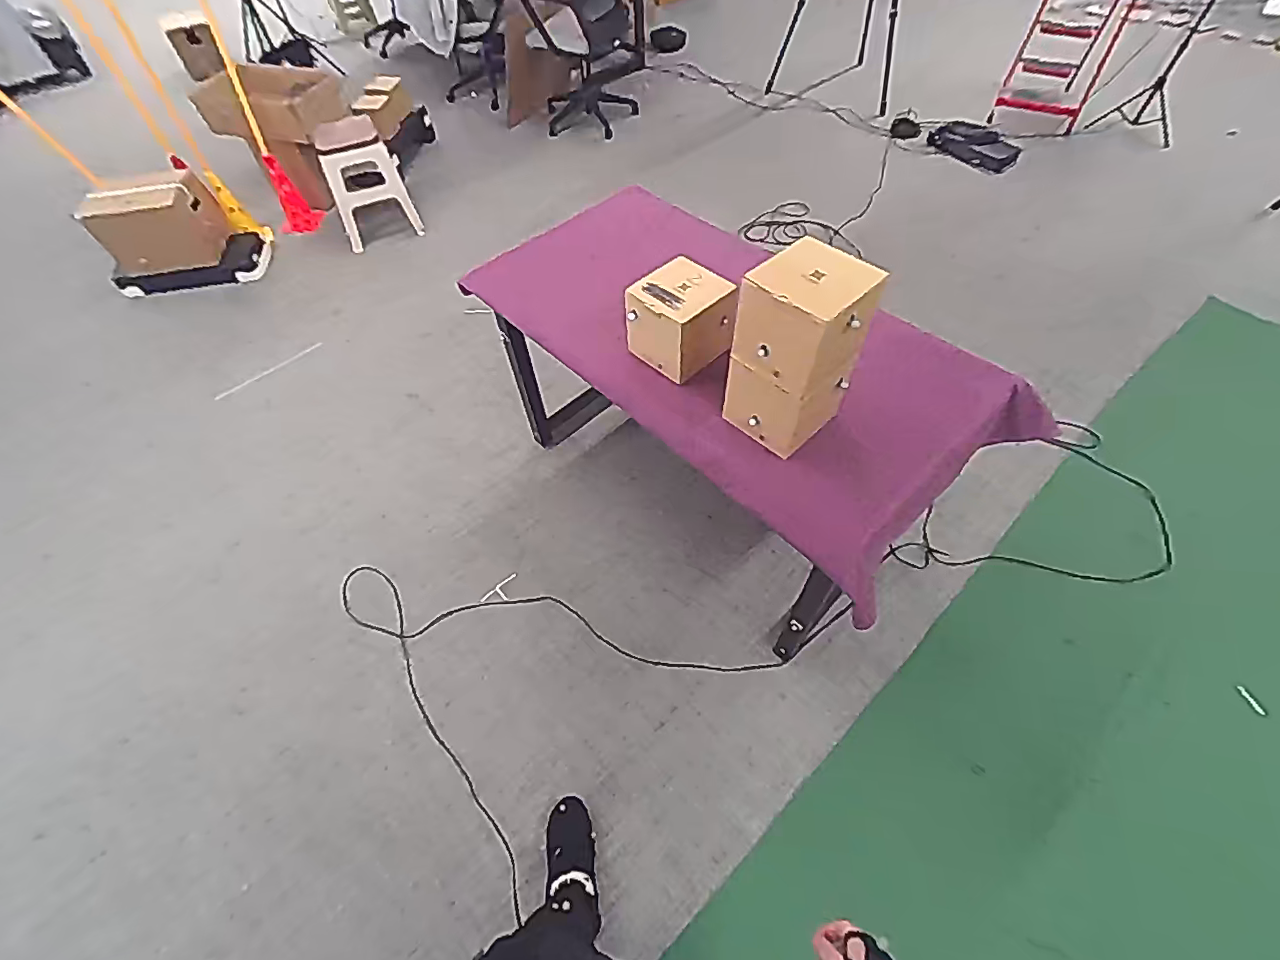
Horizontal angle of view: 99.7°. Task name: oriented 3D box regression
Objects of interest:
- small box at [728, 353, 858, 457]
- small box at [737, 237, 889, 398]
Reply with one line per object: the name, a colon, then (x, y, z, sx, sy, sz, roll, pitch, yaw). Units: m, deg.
small box: (0.289, -0.182, 1.065, 0.179, 0.176, 0.168, -38, 61, -22)
small box: (0.286, -0.278, 0.934, 0.179, 0.176, 0.168, -38, 62, -22)
